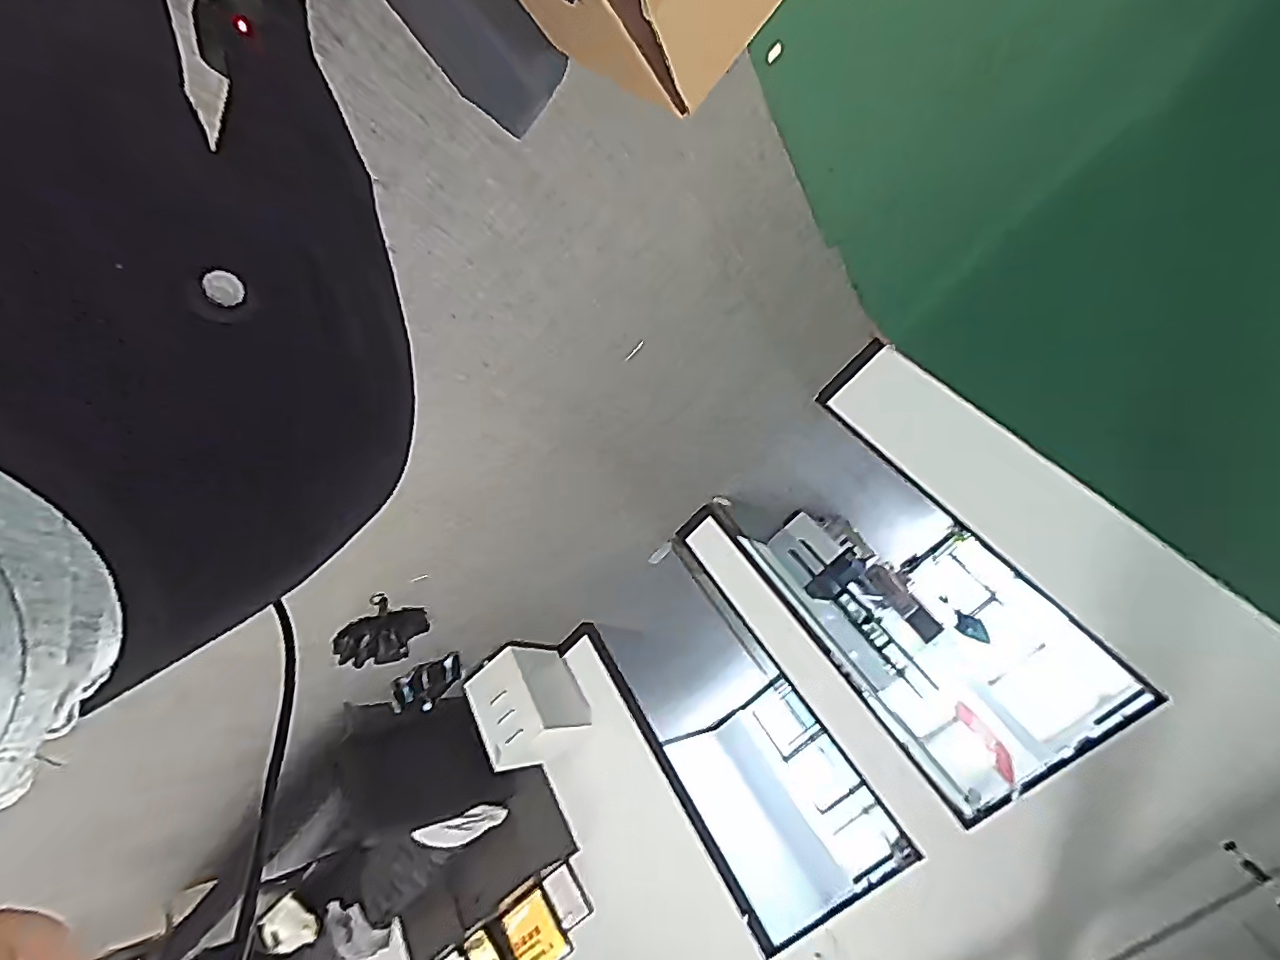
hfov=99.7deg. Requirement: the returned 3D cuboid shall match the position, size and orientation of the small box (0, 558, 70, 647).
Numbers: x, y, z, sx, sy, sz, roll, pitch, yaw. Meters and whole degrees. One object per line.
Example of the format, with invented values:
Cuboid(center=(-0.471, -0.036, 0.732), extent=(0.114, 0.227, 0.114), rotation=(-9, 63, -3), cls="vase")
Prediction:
Cuboid(center=(-1.728, 0.337, 1.490), extent=(0.179, 0.176, 0.168), rotation=(-45, 148, 10), cls="small box")
